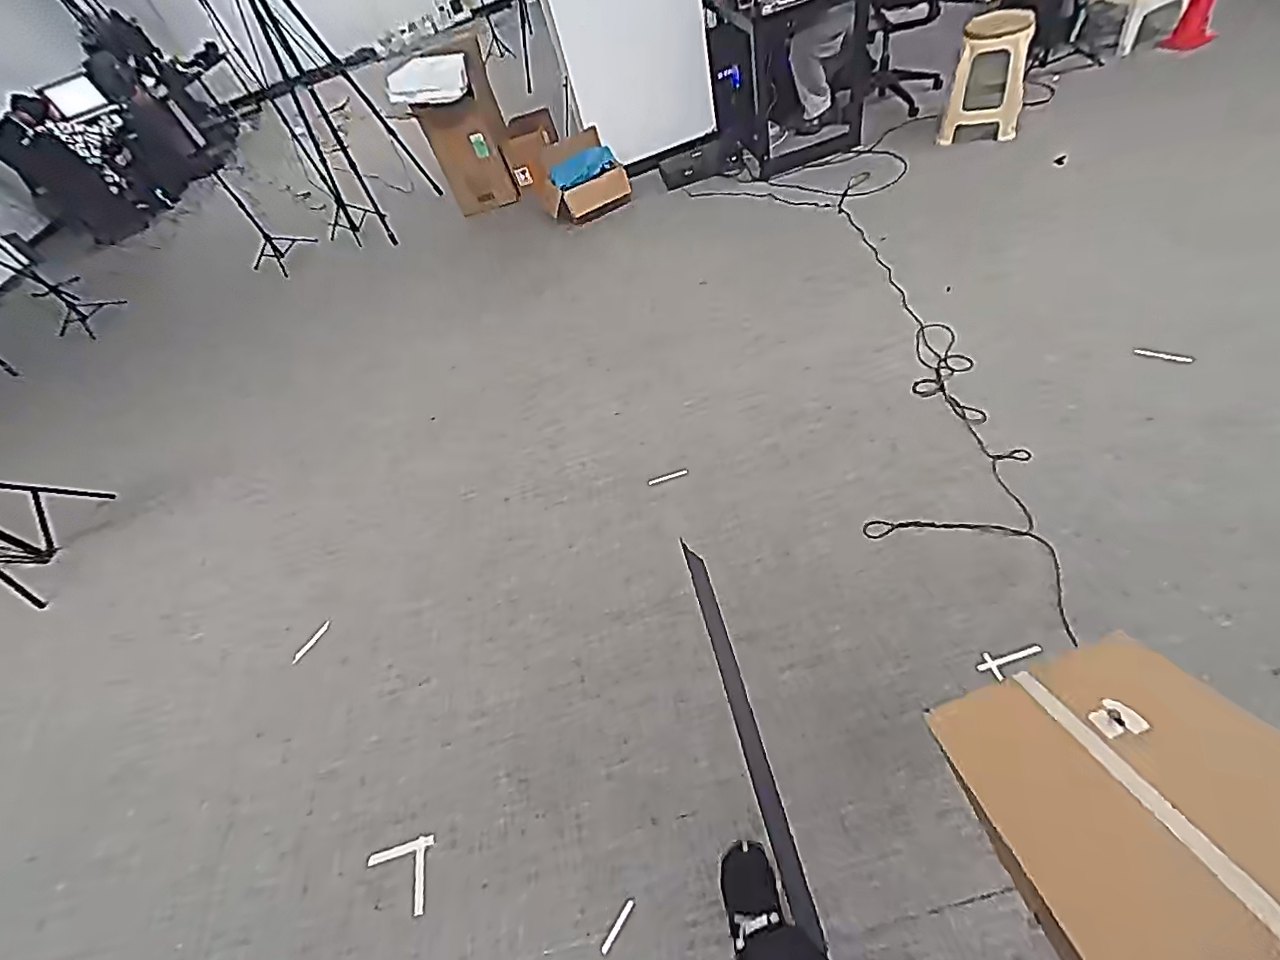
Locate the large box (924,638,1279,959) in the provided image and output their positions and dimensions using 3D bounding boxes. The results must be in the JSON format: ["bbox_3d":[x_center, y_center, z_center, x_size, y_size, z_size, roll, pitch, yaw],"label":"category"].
[{"bbox_3d":[0.650,0.481,0.674,0.320,0.320,0.408,-28,11,9],"label":"large box"}]
